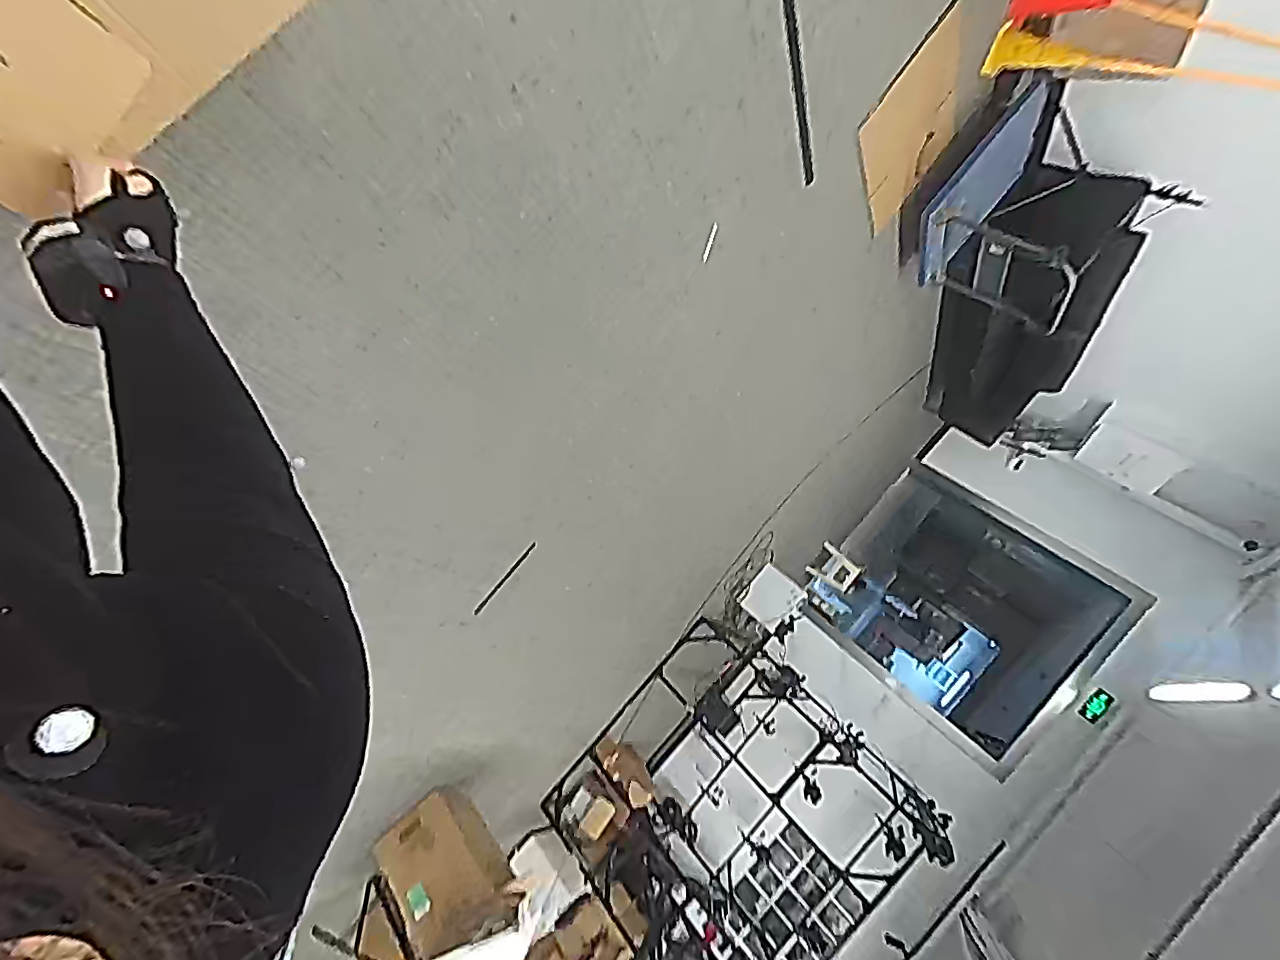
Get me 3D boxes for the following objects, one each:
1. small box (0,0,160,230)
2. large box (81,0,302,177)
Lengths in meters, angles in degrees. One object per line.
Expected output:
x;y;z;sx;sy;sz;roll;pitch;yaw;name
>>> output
-0.559;-0.343;0.442;0.179;0.176;0.168;-61;149;-4;small box
-0.686;-0.662;0.640;0.408;0.320;0.320;-48;150;-5;large box
